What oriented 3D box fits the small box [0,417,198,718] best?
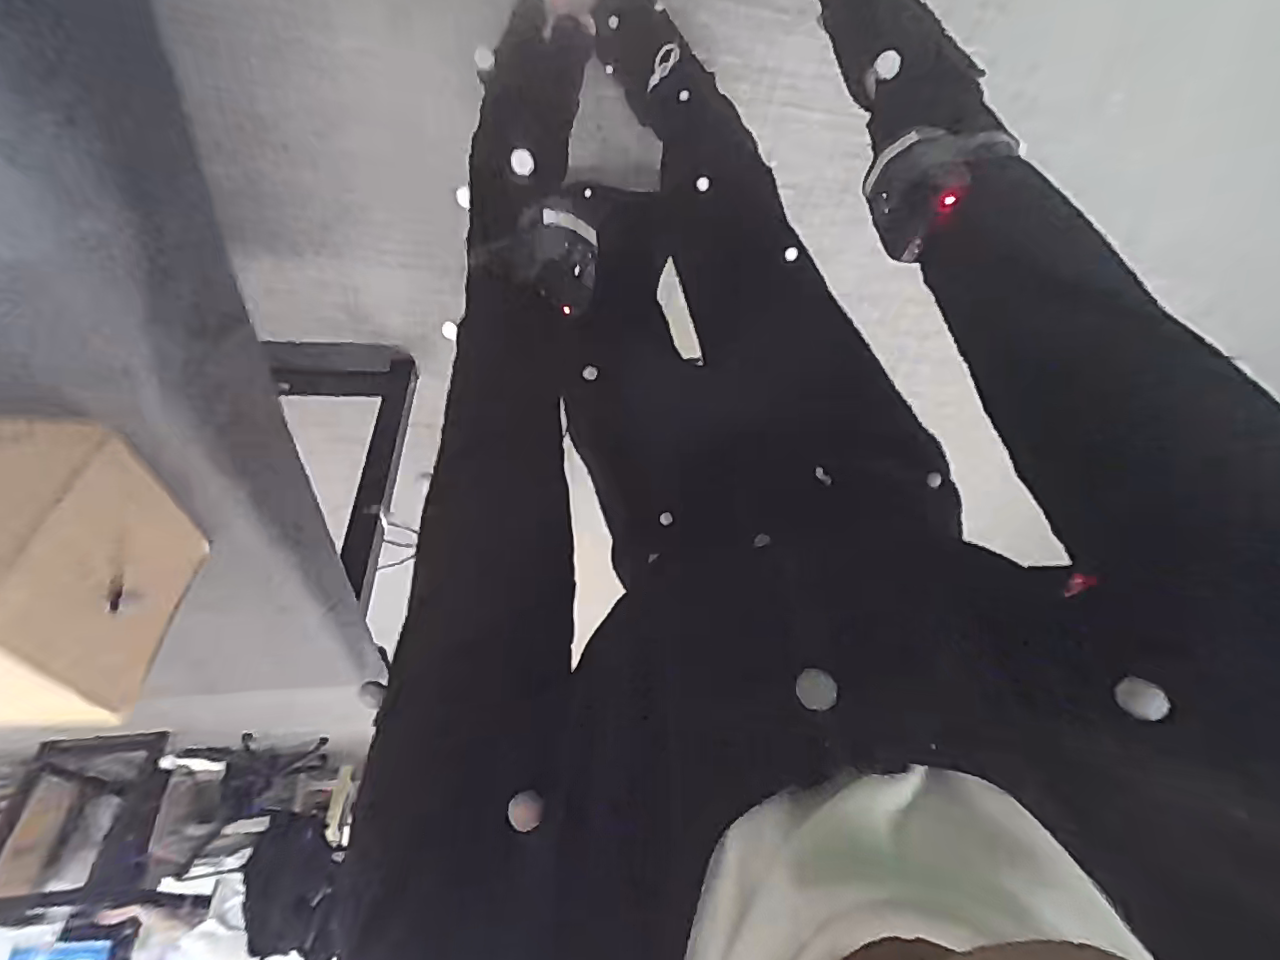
[{"bbox_3d":[-0.492,0.070,0.411,0.168,0.176,0.179,2,140,-9],"label":"small box"}]
